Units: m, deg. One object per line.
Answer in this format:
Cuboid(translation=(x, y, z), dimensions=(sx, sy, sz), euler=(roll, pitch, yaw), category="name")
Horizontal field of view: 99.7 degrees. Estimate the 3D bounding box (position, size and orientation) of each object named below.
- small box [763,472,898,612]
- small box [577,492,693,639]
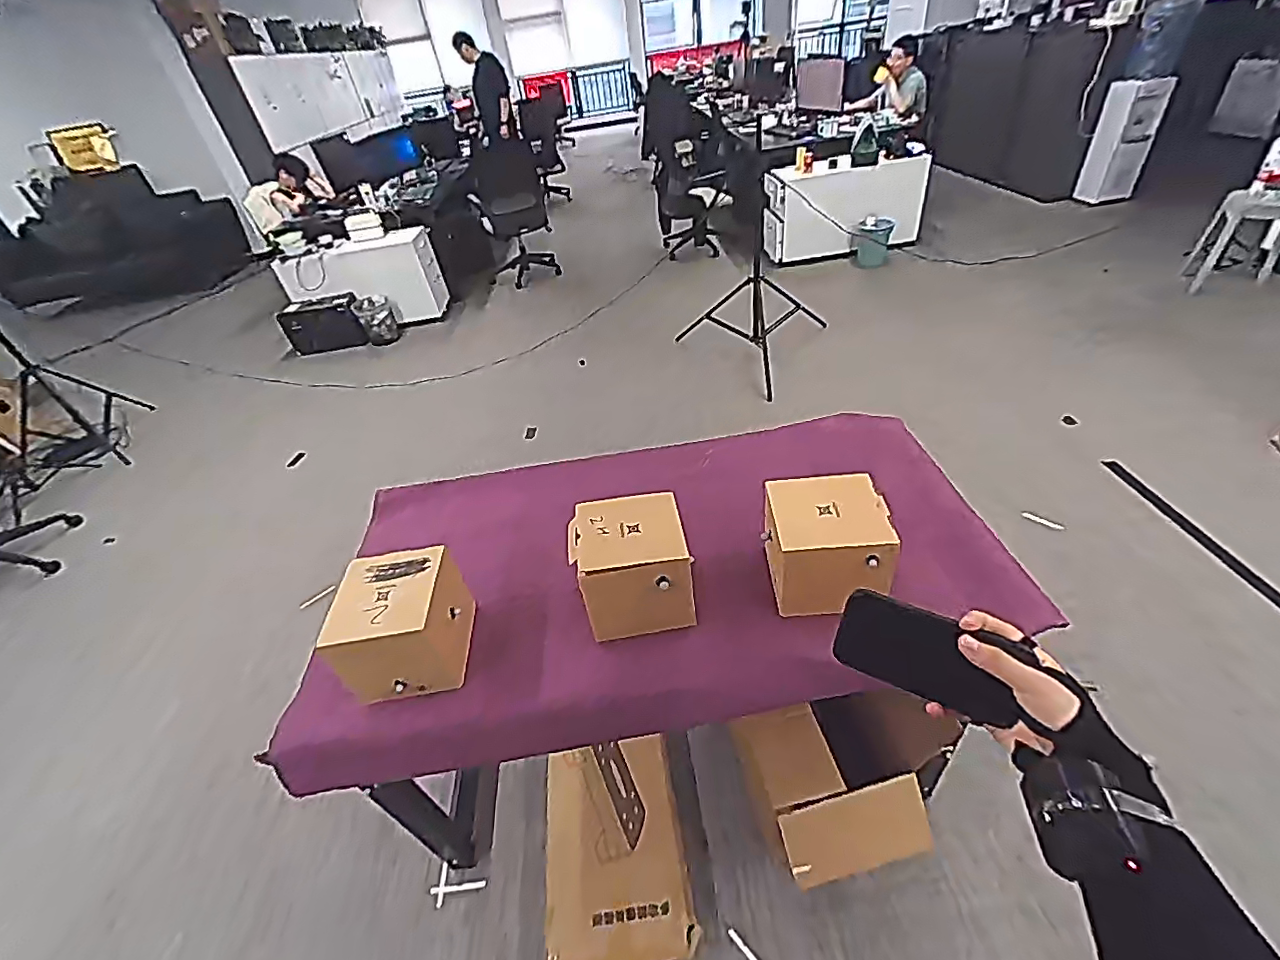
Cuboid(translation=(0.309, 0.107, 0.912), dimensions=(0.179, 0.176, 0.168), euler=(-5, 39, 5), category="small box")
Cuboid(translation=(-0.007, 0.147, 0.929), dimensions=(0.179, 0.176, 0.168), euler=(-10, 37, 0), category="small box")
